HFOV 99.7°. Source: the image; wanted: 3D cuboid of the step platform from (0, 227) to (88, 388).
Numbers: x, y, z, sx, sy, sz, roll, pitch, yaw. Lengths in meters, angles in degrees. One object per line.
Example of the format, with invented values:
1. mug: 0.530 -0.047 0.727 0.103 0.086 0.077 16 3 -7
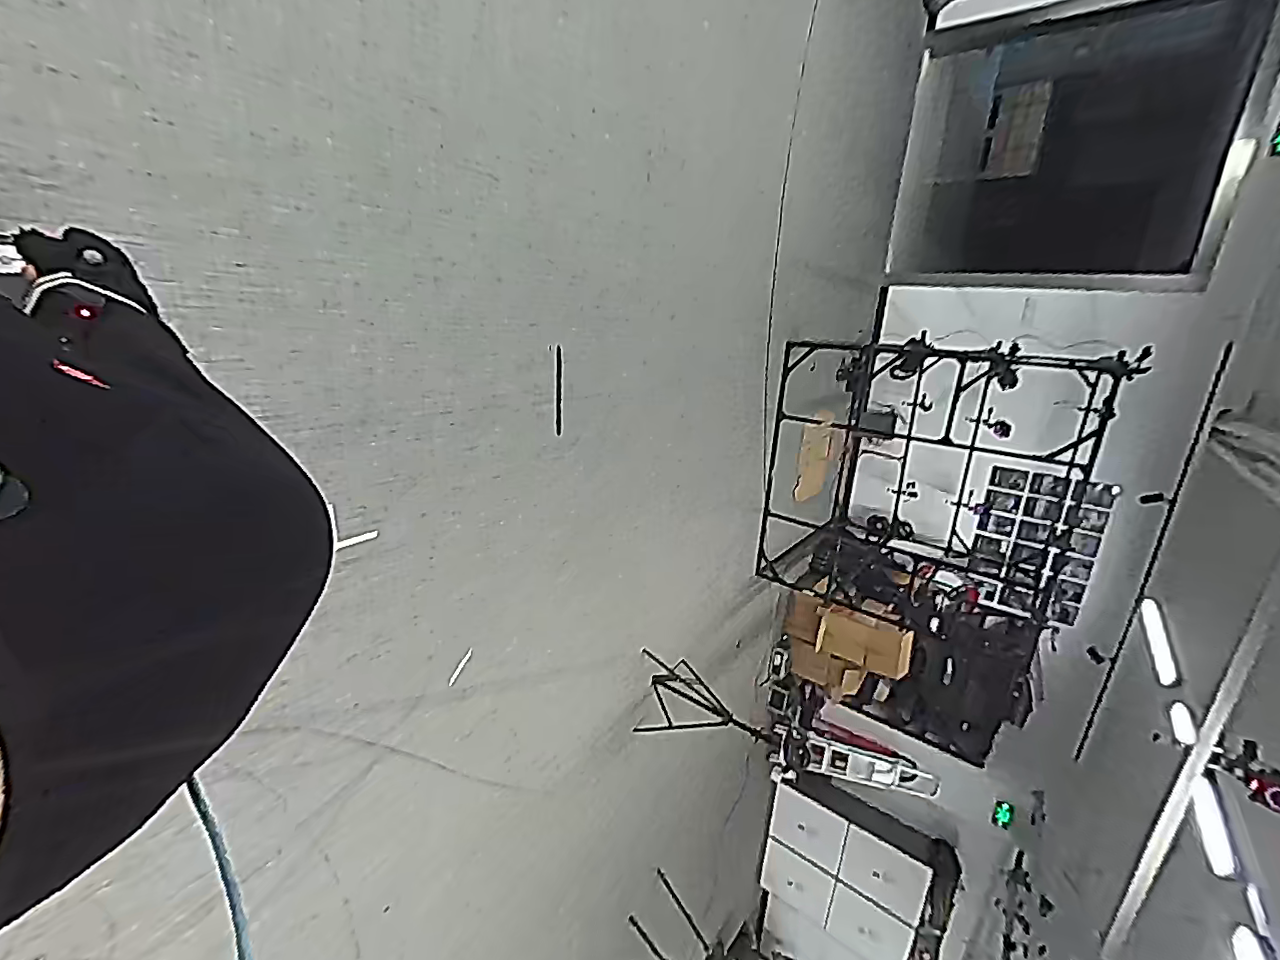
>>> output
1. step platform: -1.350 -0.274 0.840 0.684 0.204 0.286 -21 119 -51
